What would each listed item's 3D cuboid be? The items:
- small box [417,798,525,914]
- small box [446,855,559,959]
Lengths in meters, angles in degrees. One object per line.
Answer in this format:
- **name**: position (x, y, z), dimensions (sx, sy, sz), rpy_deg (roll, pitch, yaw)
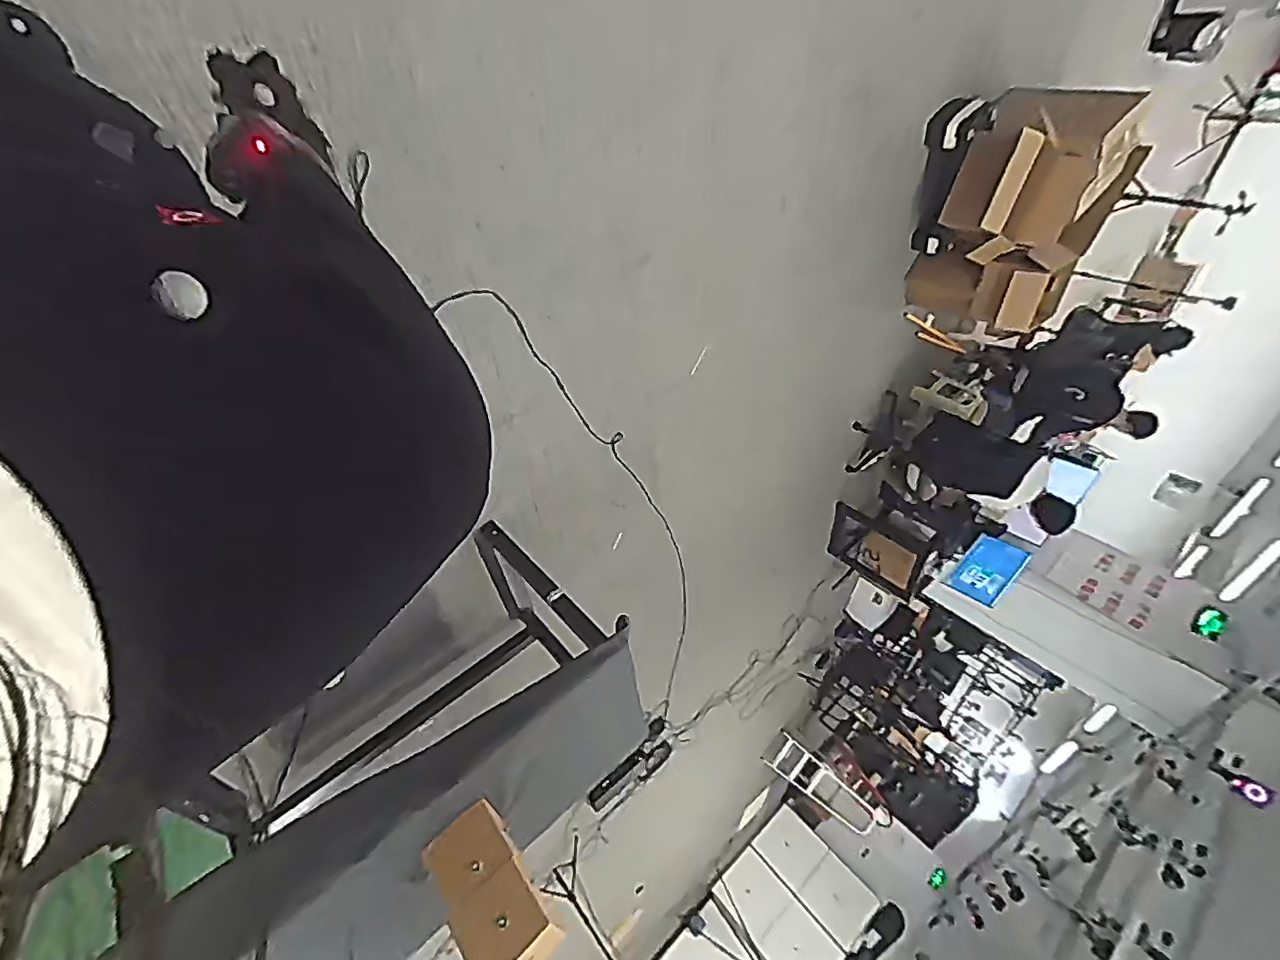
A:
- **small box**: position (-0.415, 0.929, 1.331), dimensions (0.179, 0.176, 0.168), rpy_deg (-33, 138, -24)
- **small box**: position (-0.316, 1.006, 1.225), dimensions (0.179, 0.176, 0.168), rpy_deg (-35, 139, -22)
